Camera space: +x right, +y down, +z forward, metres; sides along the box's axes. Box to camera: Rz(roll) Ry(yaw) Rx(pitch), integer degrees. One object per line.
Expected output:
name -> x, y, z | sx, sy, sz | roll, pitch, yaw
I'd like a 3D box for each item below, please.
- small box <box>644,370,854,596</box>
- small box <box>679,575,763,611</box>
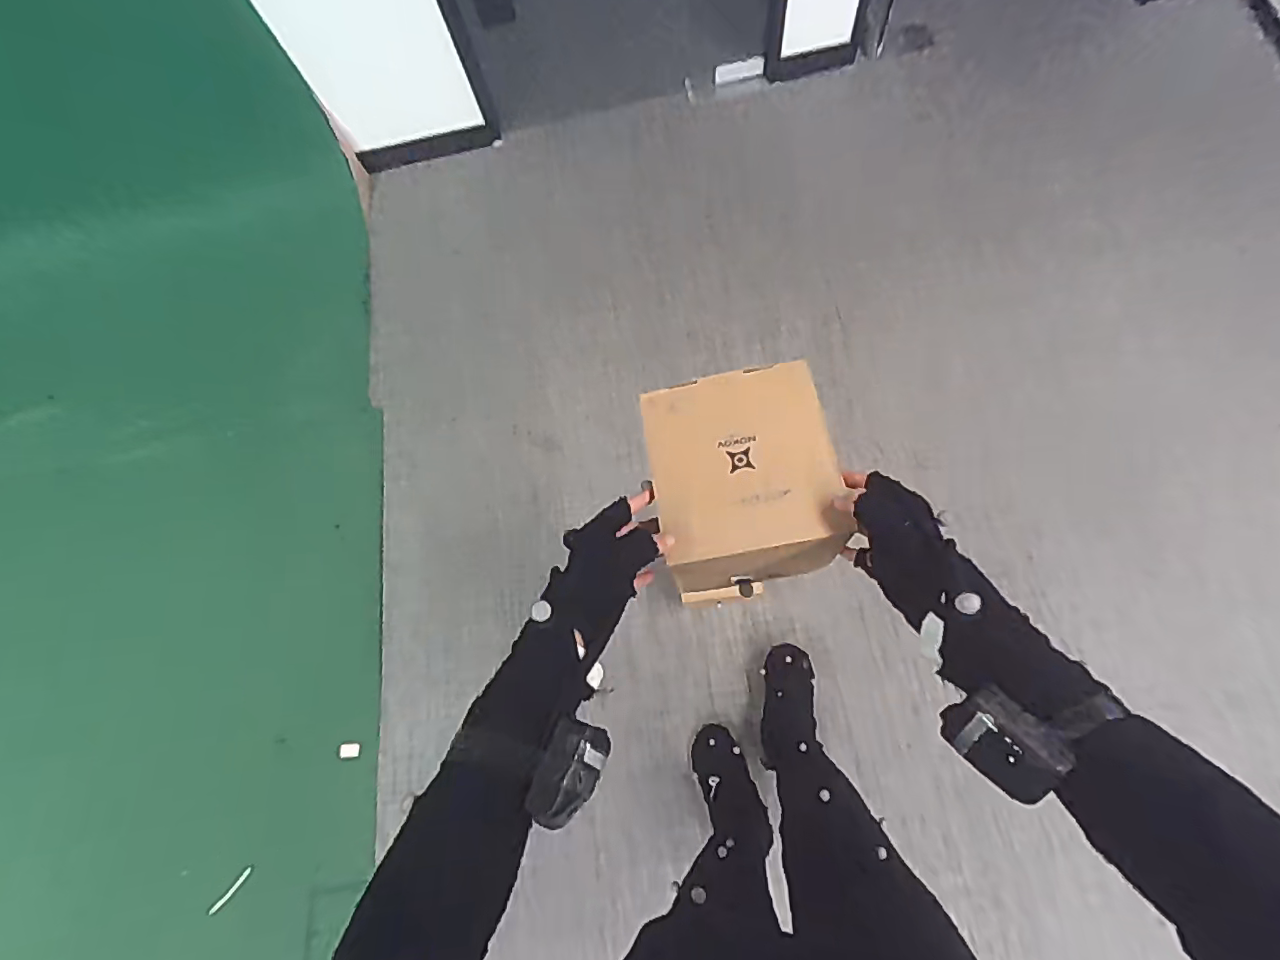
small box -> 0.106, 0.013, 0.579 | 0.168, 0.176, 0.179 | -12, 68, 5
small box -> 0.179, 0.208, 1.259 | 0.179, 0.176, 0.168 | -8, 70, 5
